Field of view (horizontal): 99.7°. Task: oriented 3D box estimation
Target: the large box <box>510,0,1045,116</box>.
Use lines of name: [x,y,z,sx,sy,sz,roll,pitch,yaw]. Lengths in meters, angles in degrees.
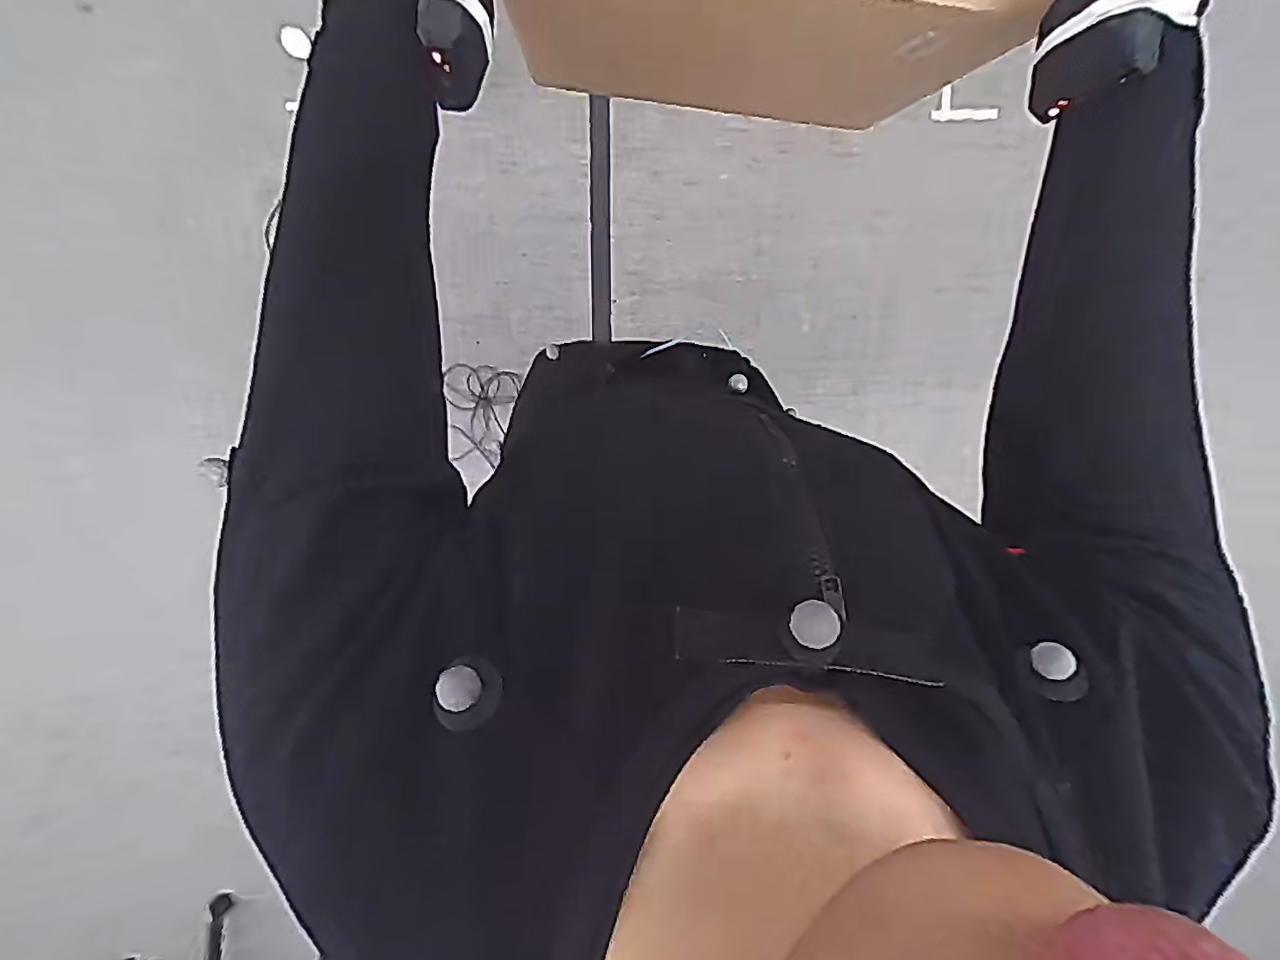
large box: [0.094,-0.540,0.453,0.408,0.320,0.320,3,112,-6]
